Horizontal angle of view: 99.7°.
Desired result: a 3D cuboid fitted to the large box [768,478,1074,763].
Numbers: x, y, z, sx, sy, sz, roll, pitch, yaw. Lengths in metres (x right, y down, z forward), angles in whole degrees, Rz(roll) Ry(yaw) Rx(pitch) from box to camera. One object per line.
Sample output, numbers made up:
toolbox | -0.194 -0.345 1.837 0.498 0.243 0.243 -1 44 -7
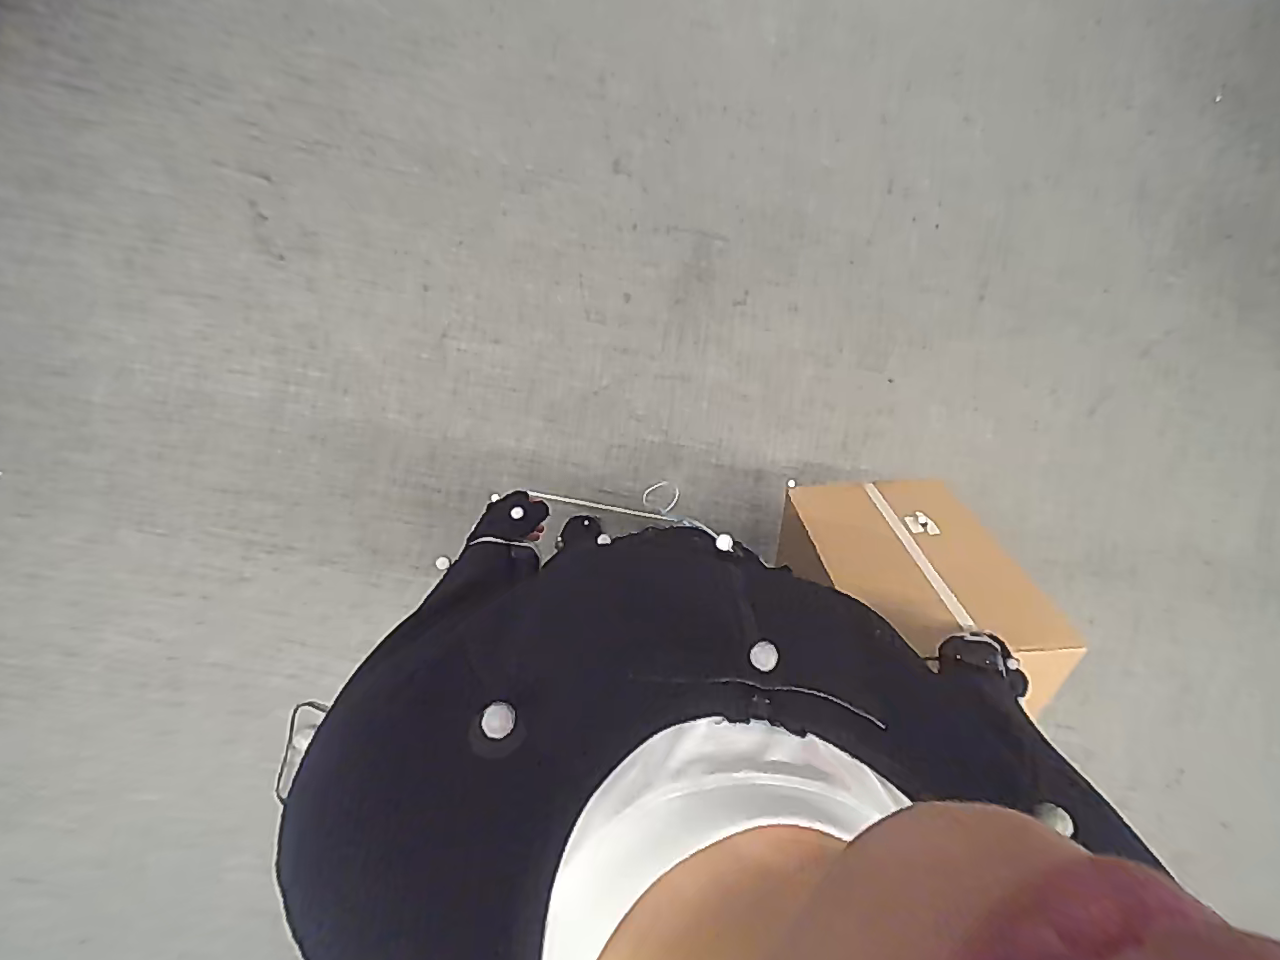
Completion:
large box | 0.454 0.241 1.002 0.320 0.408 0.320 -2 125 -4
